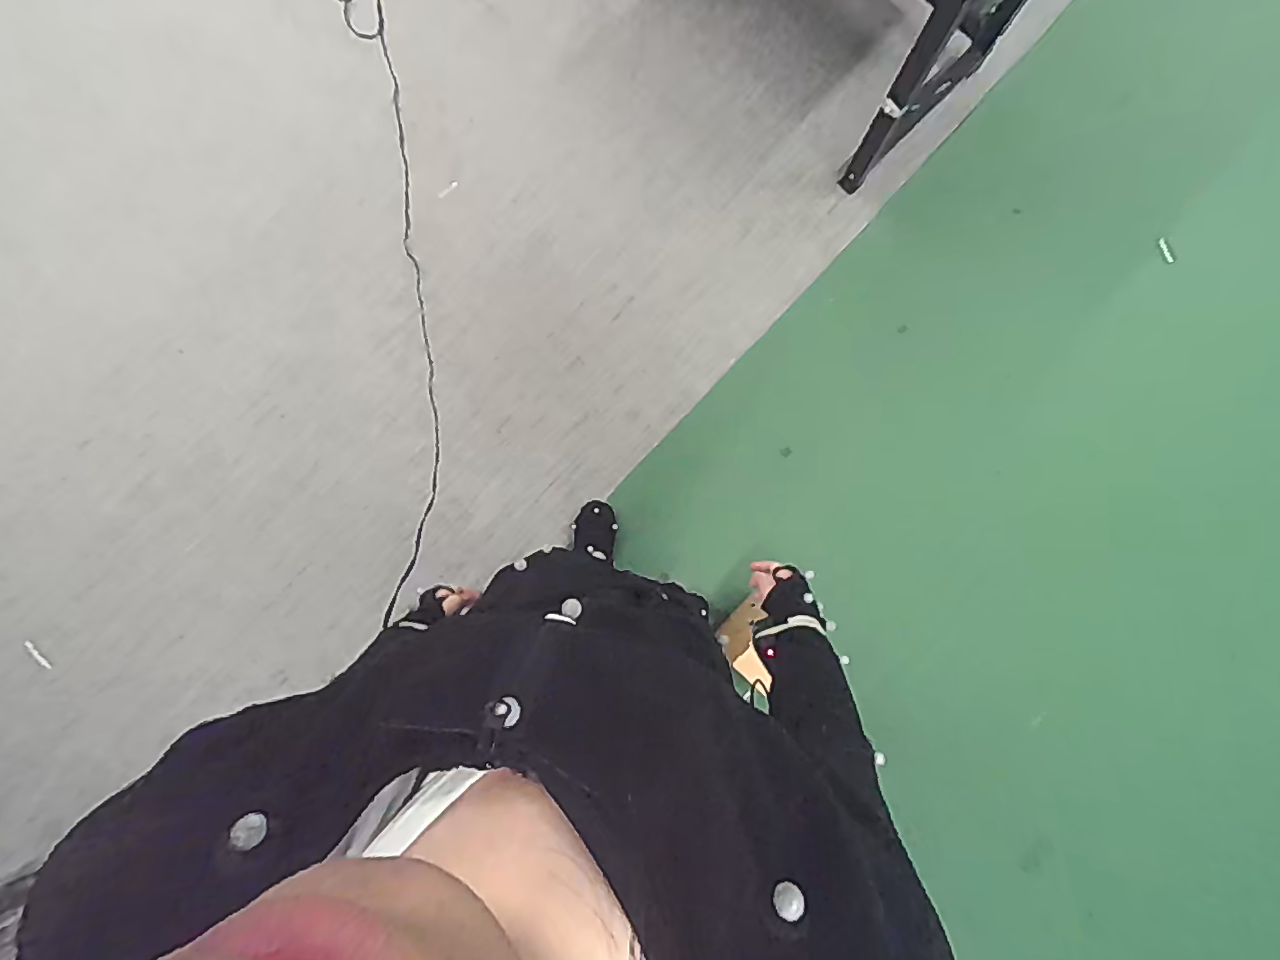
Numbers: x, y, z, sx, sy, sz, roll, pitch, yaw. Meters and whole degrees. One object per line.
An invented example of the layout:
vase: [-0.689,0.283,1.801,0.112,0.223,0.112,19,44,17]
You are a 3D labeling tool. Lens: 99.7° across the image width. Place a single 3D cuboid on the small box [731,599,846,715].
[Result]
small box: [0.333,0.396,1.249,0.179,0.176,0.168,43,88,4]
